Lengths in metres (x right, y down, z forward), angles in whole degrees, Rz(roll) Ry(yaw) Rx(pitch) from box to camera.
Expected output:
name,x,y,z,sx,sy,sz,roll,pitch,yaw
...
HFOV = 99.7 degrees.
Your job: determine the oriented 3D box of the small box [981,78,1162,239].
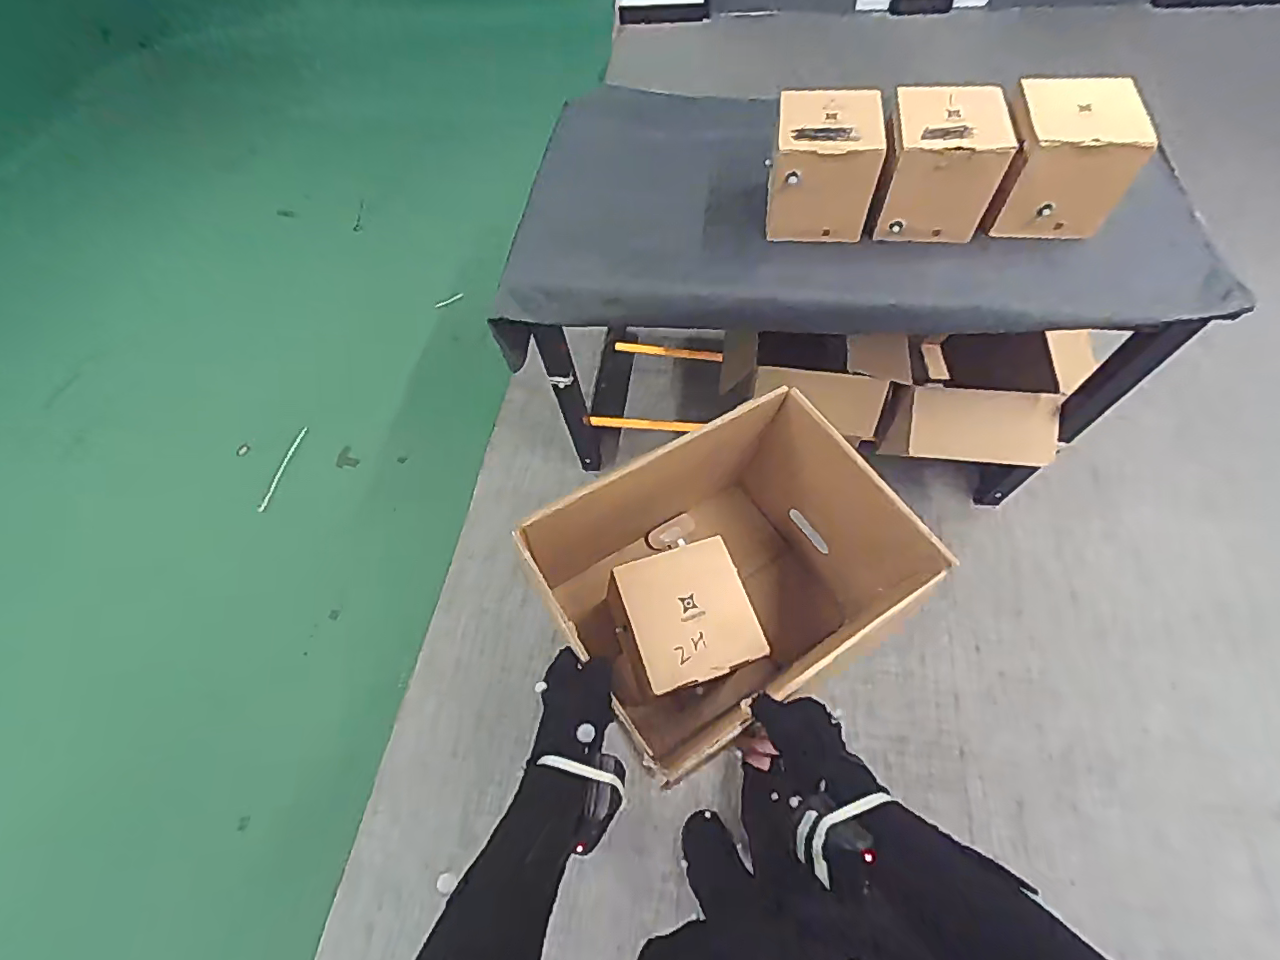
name,x,y,z,sx,sy,sz,roll,pitch,yaw
small box,0.702,-0.537,0.908,0.168,0.176,0.179,6,63,9
